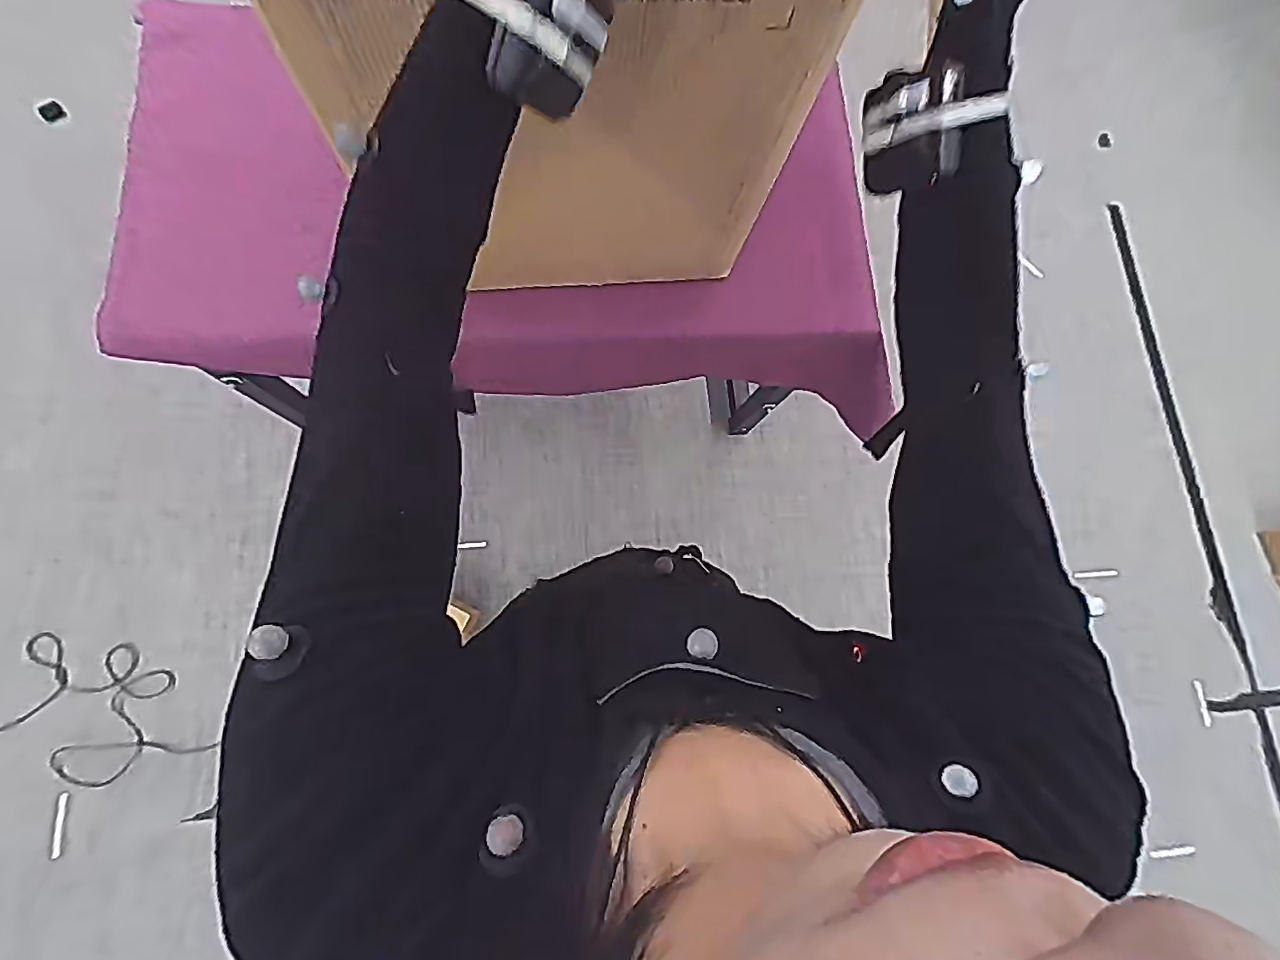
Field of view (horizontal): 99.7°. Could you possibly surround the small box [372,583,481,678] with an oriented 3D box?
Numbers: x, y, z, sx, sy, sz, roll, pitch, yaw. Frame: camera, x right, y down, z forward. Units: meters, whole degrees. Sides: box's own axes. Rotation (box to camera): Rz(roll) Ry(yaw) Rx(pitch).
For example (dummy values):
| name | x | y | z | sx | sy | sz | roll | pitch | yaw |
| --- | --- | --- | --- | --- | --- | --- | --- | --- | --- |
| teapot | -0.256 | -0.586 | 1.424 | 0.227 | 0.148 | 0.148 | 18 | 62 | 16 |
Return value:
| name | x | y | z | sx | sy | sz | roll | pitch | yaw |
| --- | --- | --- | --- | --- | --- | --- | --- | --- | --- |
| small box | -0.526 | 0.374 | 1.359 | 0.179 | 0.176 | 0.168 | 27 | 77 | -2 |
